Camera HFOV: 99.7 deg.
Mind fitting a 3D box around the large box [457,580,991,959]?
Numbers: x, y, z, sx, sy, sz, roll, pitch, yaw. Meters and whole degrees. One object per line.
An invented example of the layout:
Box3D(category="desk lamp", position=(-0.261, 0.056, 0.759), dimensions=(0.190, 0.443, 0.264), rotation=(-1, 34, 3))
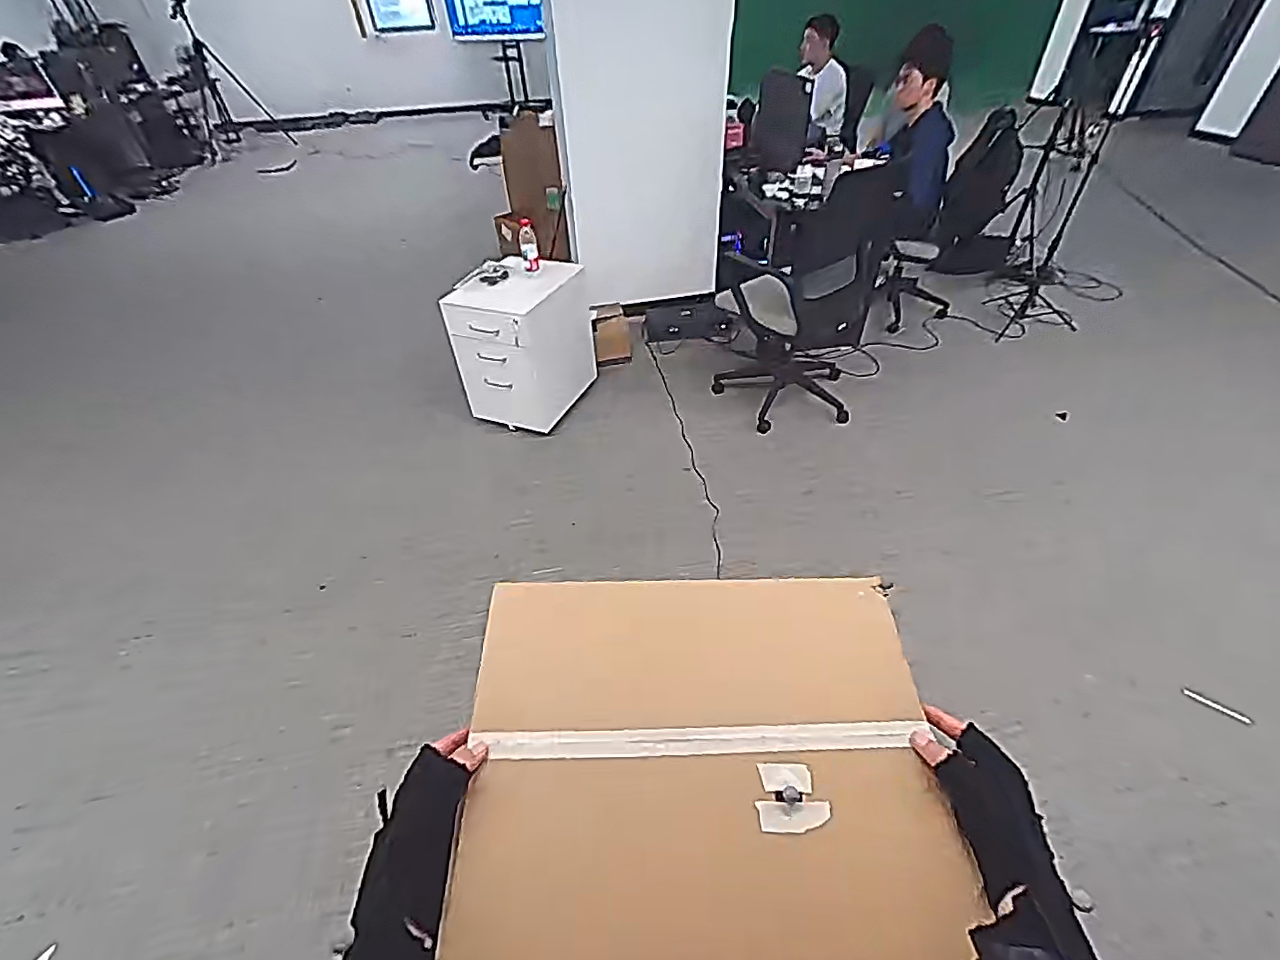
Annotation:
Box3D(category="large box", position=(0.055, 0.322, 0.600), dimensions=(0.408, 0.320, 0.320), rotation=(0, 52, -2))
